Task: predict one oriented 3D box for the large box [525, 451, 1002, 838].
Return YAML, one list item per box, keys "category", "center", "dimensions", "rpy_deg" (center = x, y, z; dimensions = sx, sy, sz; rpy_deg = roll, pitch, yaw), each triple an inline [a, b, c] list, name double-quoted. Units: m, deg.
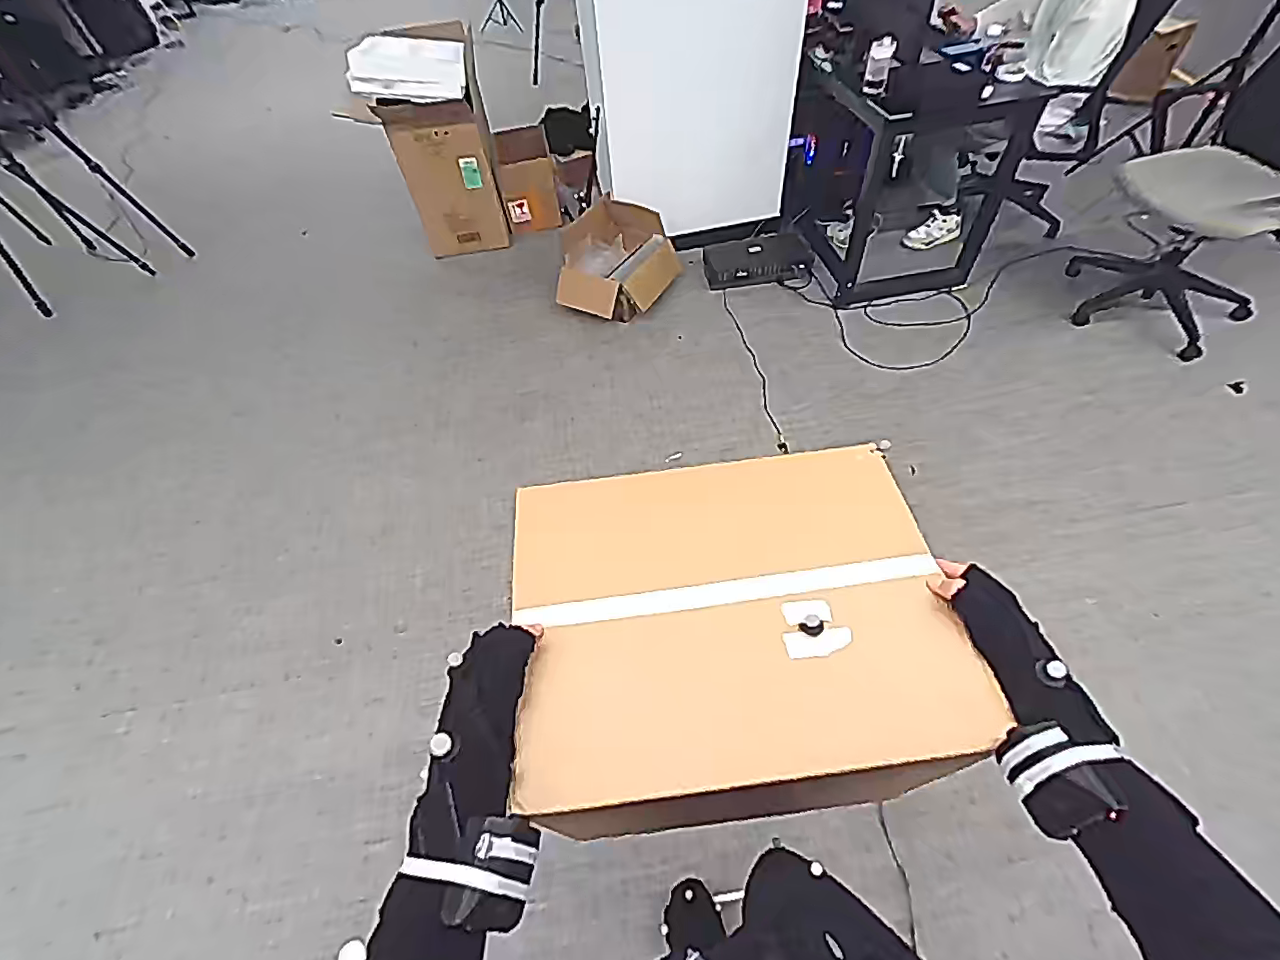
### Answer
- category: "large box"
  center: [0.093, 0.203, 0.644]
  dimensions: [0.408, 0.320, 0.320]
  rpy_deg: [-7, 53, -1]
